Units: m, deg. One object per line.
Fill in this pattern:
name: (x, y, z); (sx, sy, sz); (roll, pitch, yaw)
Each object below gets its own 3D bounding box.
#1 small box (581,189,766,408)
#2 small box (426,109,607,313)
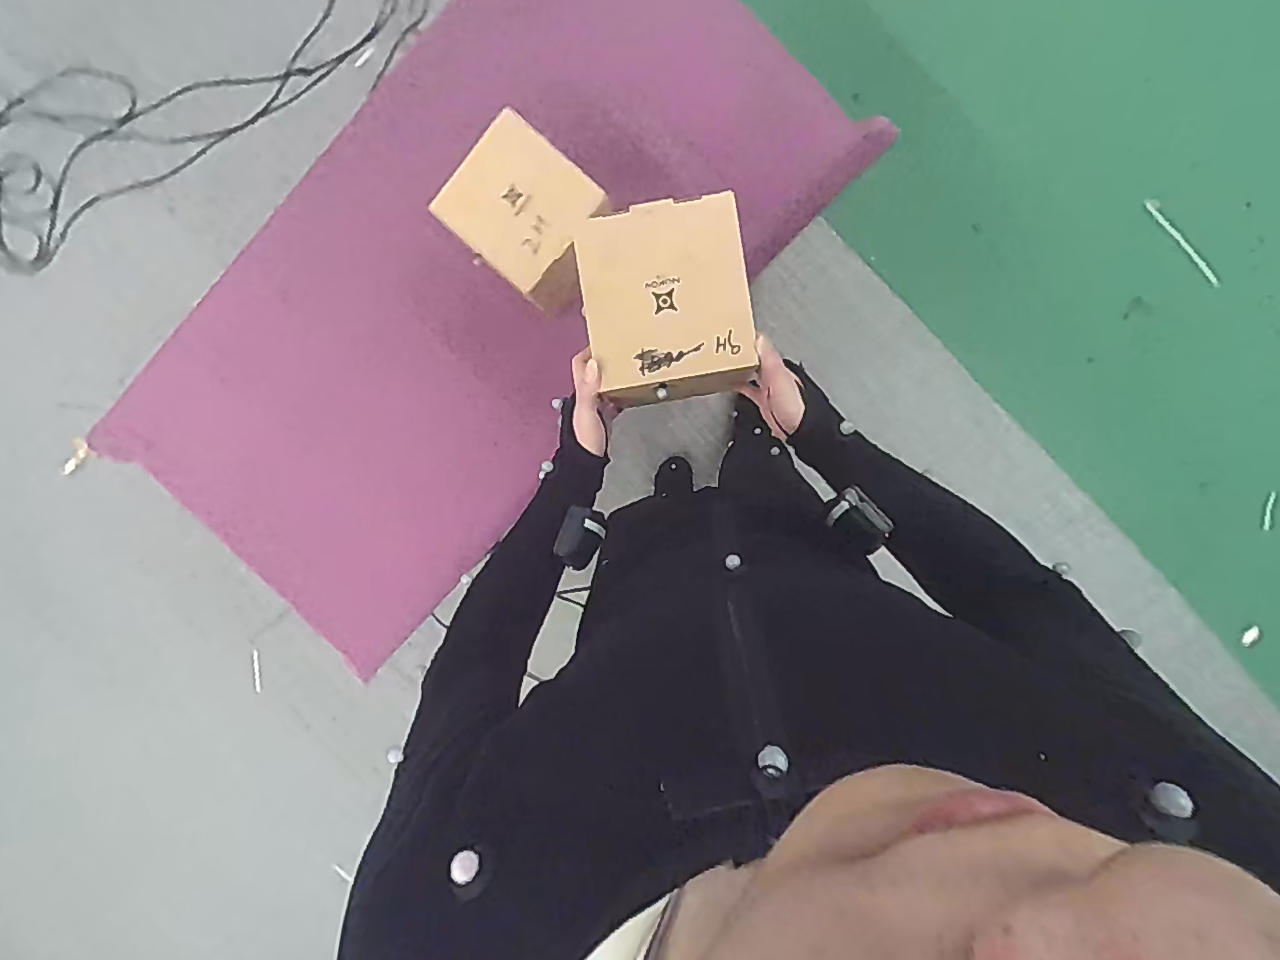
small box: (0.037, -0.187, 0.607); (0.168, 0.176, 0.179); (-8, 90, 6)
small box: (-0.161, -0.366, 0.778); (0.179, 0.176, 0.168); (41, 96, -2)
